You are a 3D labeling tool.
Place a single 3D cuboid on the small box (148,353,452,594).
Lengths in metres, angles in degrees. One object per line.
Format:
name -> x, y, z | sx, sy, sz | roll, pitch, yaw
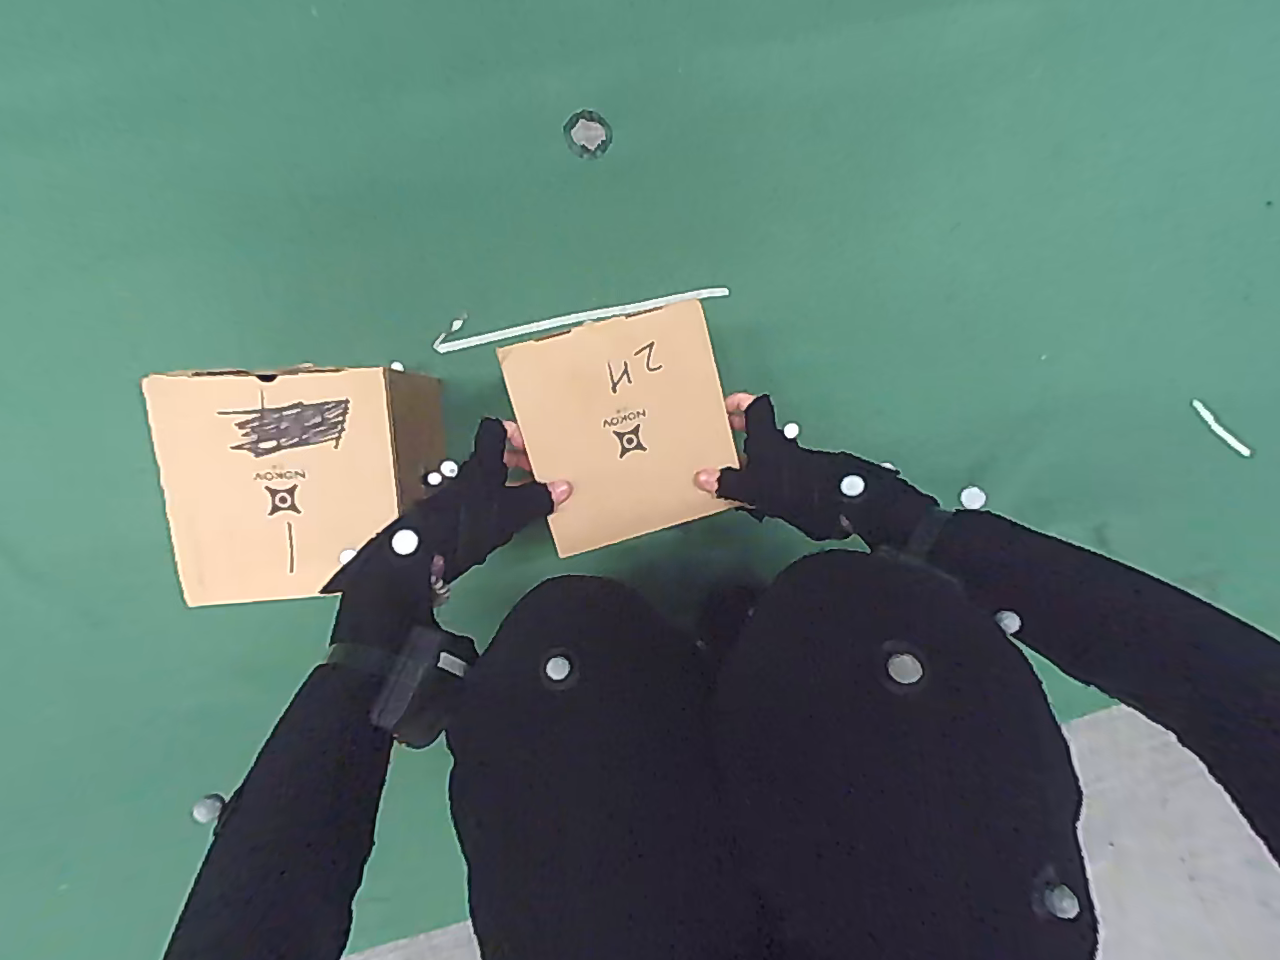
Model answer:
small box -> -0.272, -0.014, 0.477 | 0.168, 0.176, 0.179 | -2, 99, -7
